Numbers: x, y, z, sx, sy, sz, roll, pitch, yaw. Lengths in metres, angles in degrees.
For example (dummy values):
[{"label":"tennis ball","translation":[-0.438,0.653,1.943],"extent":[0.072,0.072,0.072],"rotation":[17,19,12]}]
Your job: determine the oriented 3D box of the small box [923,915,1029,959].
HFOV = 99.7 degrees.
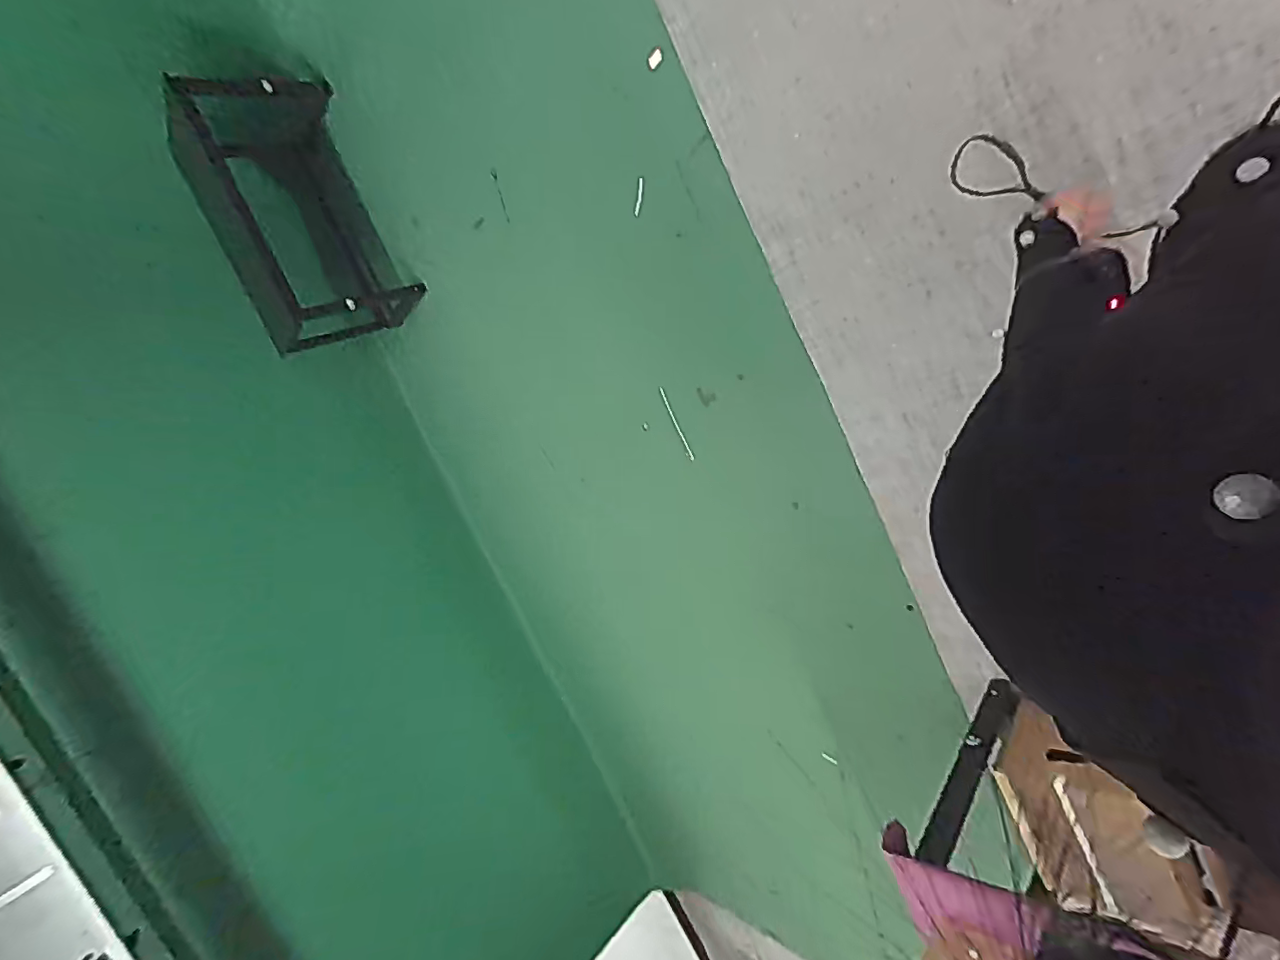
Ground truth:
[{"label":"small box","translation":[0.687,1.037,1.078],"extent":[0.168,0.176,0.179],"rotation":[-17,102,51]}]
